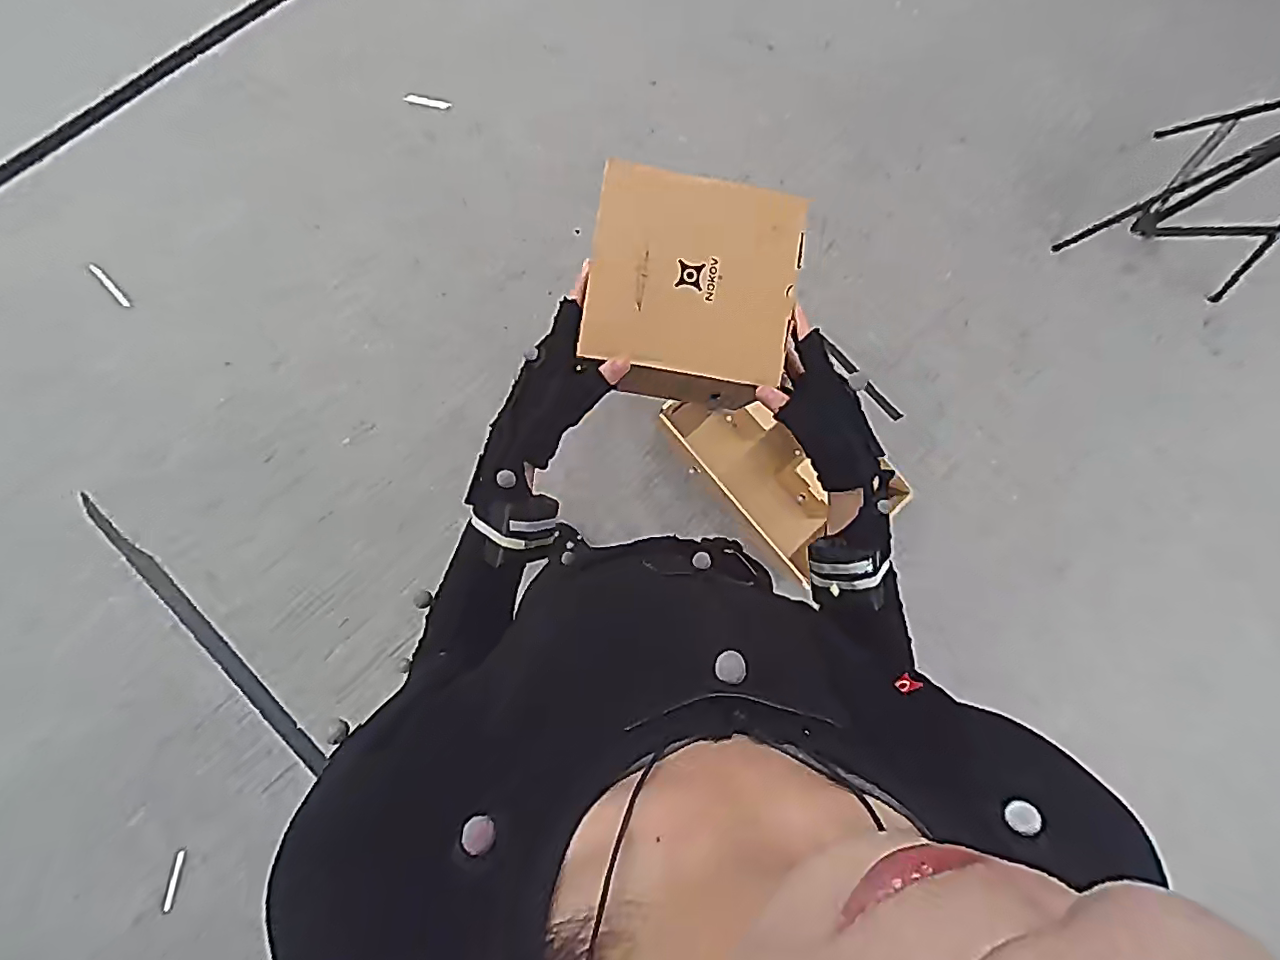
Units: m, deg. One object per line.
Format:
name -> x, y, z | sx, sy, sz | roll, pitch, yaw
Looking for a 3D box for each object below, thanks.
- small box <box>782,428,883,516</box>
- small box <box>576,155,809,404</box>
small box -> 0.510, -0.013, 1.470 | 0.179, 0.176, 0.168 | -40, 89, -7
small box -> 0.040, -0.172, 0.521 | 0.179, 0.176, 0.168 | 7, 89, -2
